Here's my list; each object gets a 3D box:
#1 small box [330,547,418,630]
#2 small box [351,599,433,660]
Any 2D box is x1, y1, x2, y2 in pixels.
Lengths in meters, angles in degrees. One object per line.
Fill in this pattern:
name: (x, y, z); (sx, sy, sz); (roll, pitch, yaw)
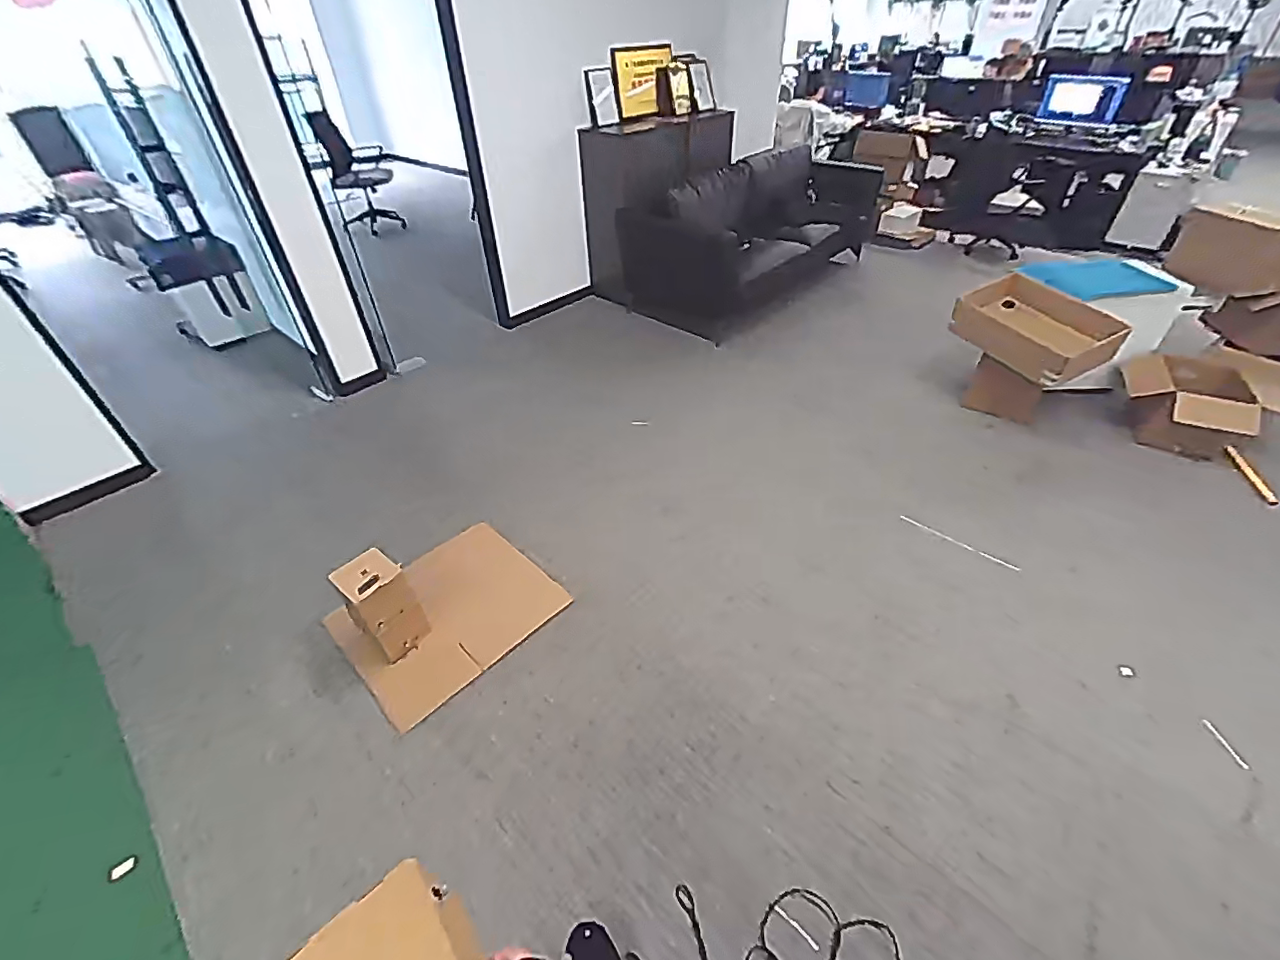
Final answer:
small box: (-0.846, 0.354, 1.738); (0.179, 0.176, 0.168); (27, 48, 30)
small box: (-0.842, 0.478, 1.844); (0.179, 0.176, 0.168); (25, 47, 27)
